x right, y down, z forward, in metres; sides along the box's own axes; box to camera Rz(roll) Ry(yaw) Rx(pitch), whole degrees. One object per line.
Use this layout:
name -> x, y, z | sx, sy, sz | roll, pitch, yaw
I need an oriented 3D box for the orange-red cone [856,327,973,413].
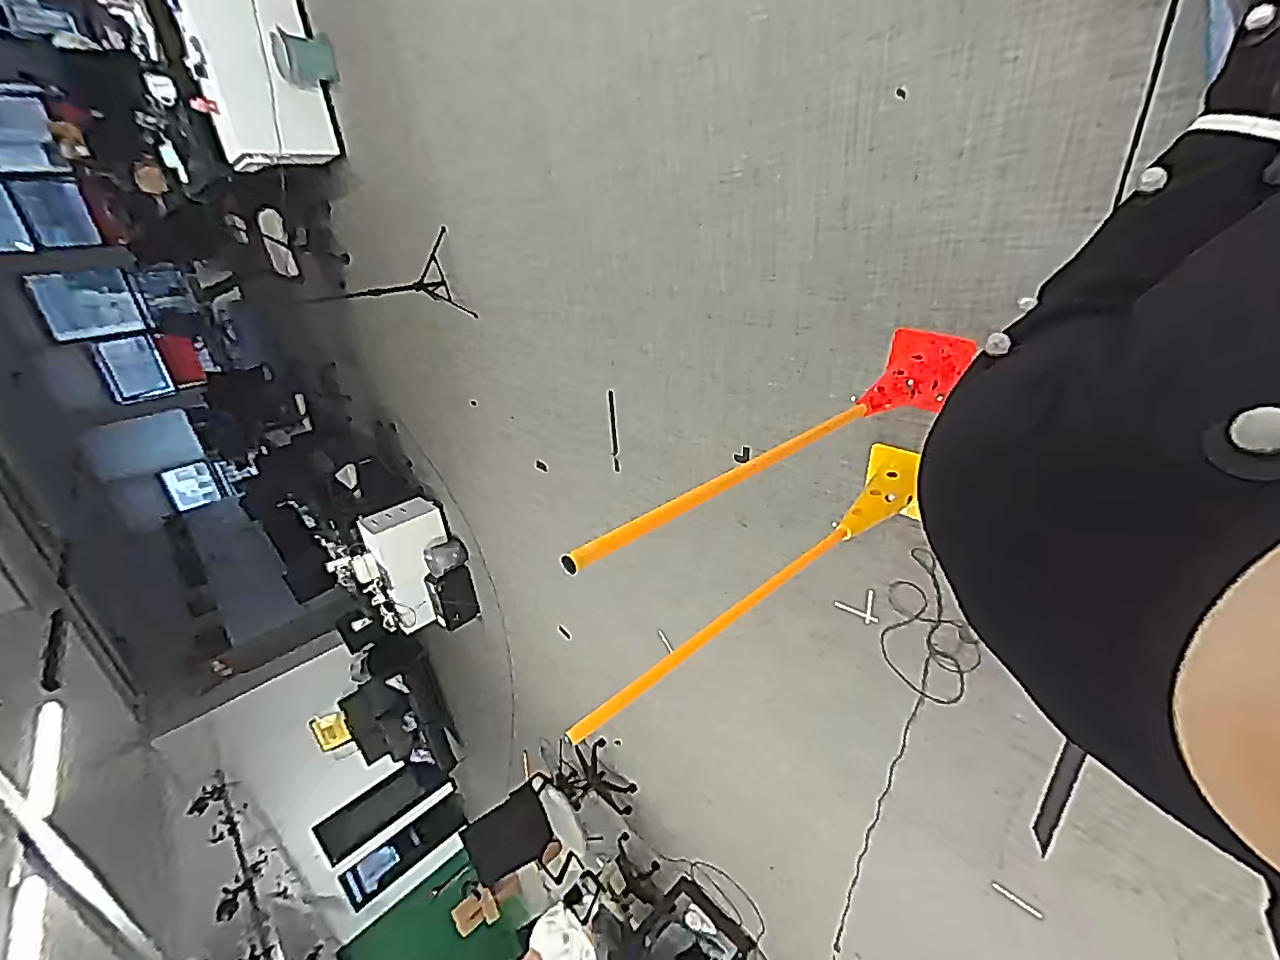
orange-red cone -> 0.616, -0.228, 1.298 | 0.198, 0.360, 0.199 | 27, 129, 37
